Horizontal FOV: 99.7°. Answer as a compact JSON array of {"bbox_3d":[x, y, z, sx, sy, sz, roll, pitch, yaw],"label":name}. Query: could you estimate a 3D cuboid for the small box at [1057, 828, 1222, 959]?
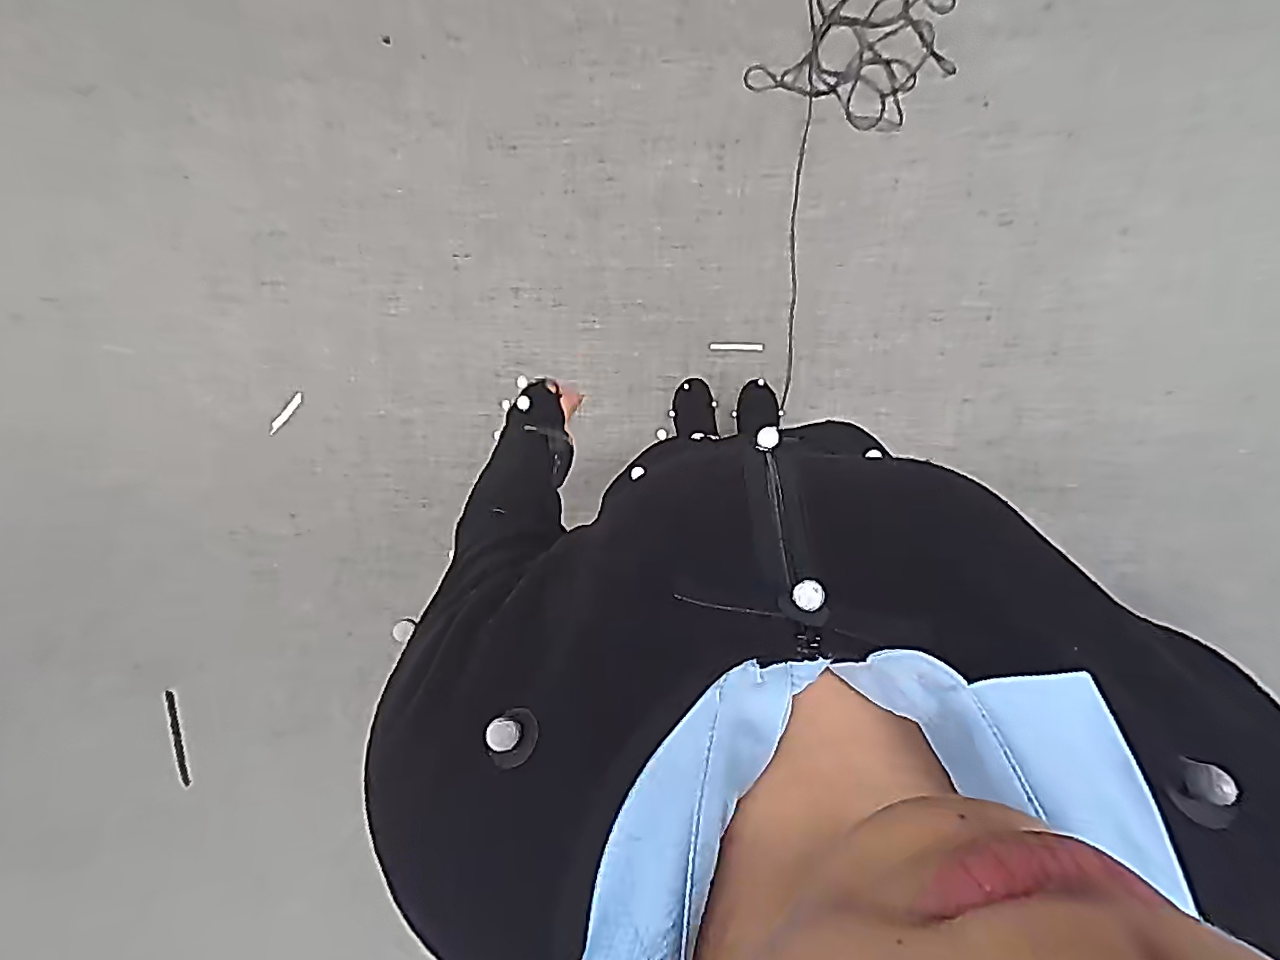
[{"bbox_3d":[1.027,0.866,1.129,0.179,0.176,0.168,2,101,7],"label":"small box"}]
